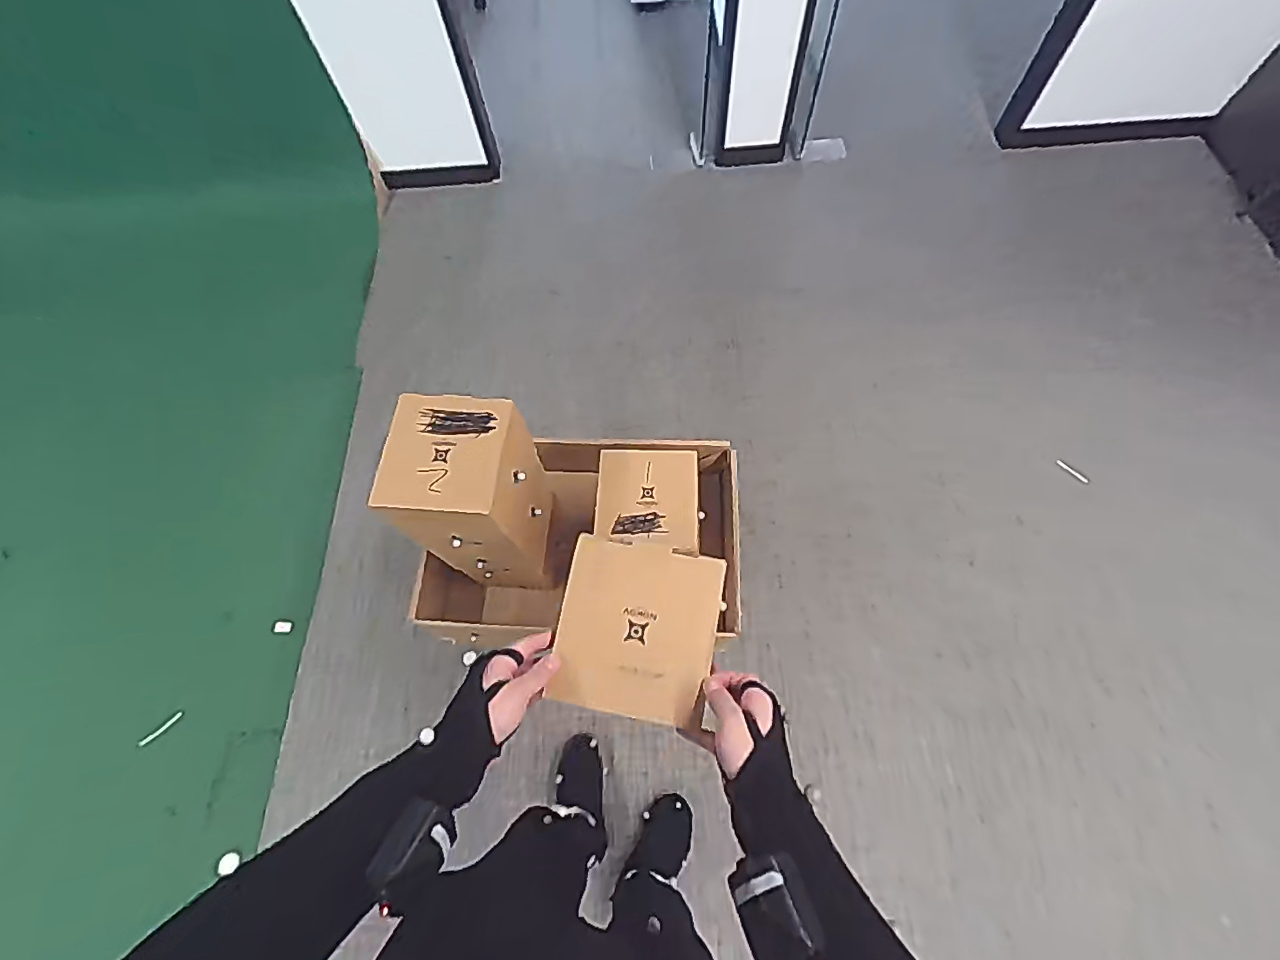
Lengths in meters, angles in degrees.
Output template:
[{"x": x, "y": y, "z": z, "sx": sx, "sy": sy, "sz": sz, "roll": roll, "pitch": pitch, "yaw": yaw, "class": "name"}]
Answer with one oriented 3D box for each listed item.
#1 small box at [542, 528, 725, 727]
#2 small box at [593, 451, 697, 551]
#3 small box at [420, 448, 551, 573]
[{"x": -0.004, "y": 0.171, "z": 0.644, "sx": 0.168, "sy": 0.176, "sz": 0.179, "roll": 11, "pitch": 75, "yaw": 5, "class": "small box"}, {"x": 0.014, "y": 0.065, "z": 0.946, "sx": 0.168, "sy": 0.176, "sz": 0.179, "roll": 2, "pitch": 65, "yaw": 3, "class": "small box"}, {"x": -0.262, "y": 0.061, "z": 0.960, "sx": 0.168, "sy": 0.176, "sz": 0.179, "roll": 3, "pitch": 66, "yaw": 3, "class": "small box"}]
